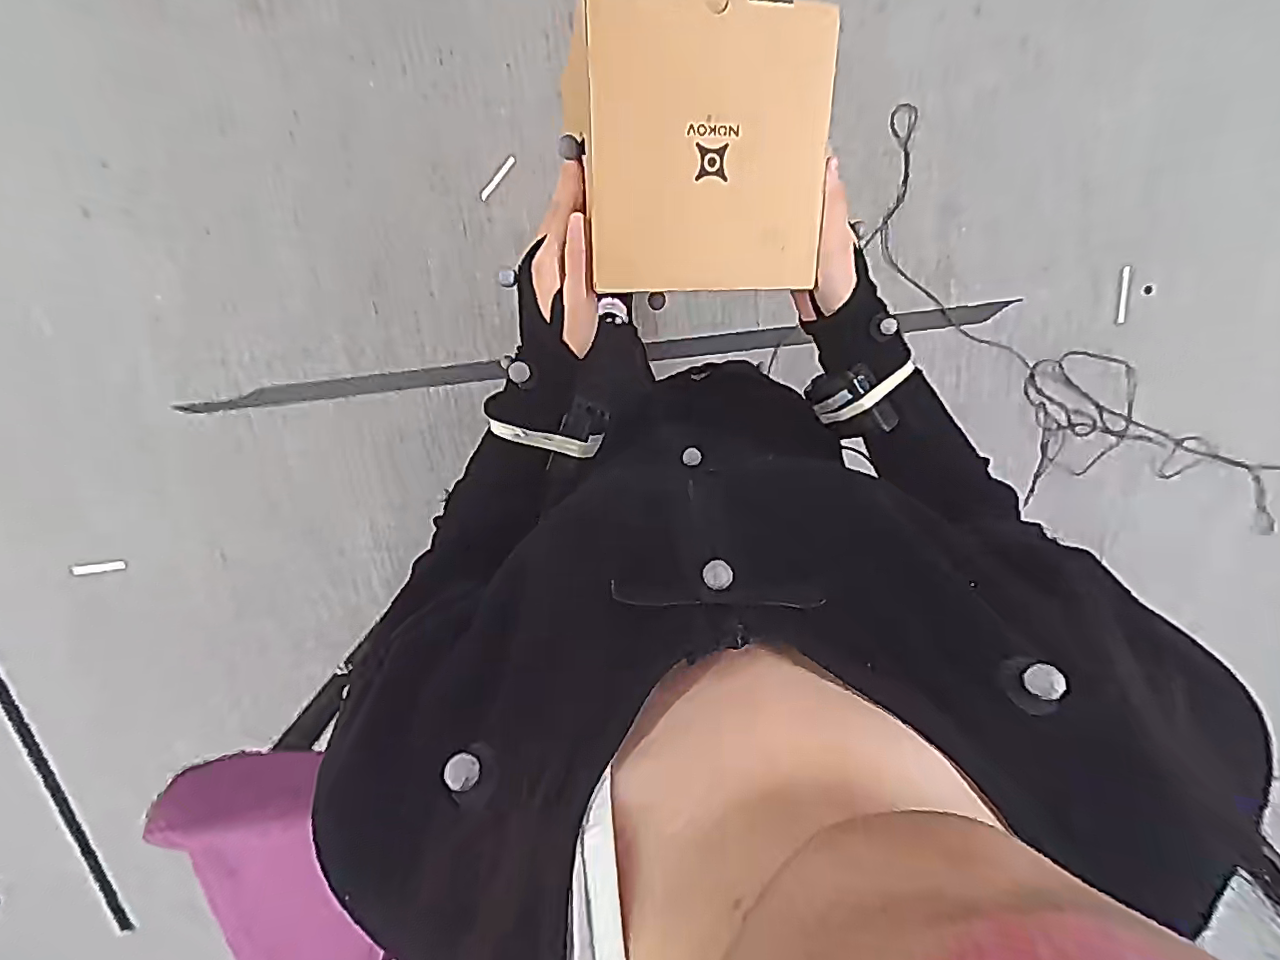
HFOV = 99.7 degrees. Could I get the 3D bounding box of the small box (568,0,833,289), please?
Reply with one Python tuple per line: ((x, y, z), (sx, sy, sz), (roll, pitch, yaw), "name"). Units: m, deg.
((0.031, -0.249, 0.438), (0.168, 0.176, 0.179), (-4, 109, -10), "small box")
